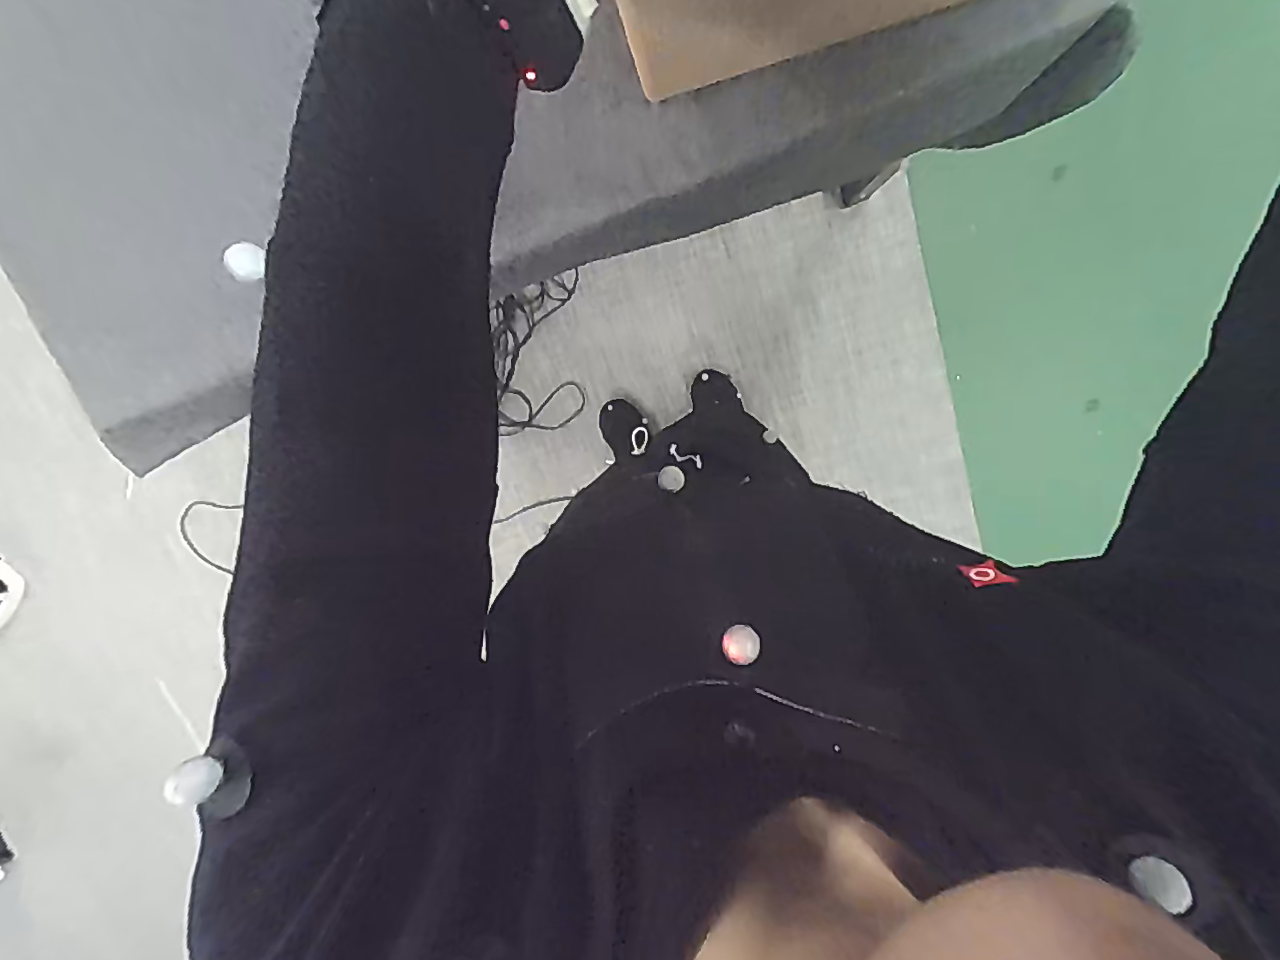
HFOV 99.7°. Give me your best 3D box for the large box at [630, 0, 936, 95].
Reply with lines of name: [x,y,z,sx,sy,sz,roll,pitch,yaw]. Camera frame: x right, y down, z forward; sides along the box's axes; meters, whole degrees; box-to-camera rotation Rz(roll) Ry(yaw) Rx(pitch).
large box: [0.148,-0.519,0.318,0.408,0.320,0.320,-12,103,10]
